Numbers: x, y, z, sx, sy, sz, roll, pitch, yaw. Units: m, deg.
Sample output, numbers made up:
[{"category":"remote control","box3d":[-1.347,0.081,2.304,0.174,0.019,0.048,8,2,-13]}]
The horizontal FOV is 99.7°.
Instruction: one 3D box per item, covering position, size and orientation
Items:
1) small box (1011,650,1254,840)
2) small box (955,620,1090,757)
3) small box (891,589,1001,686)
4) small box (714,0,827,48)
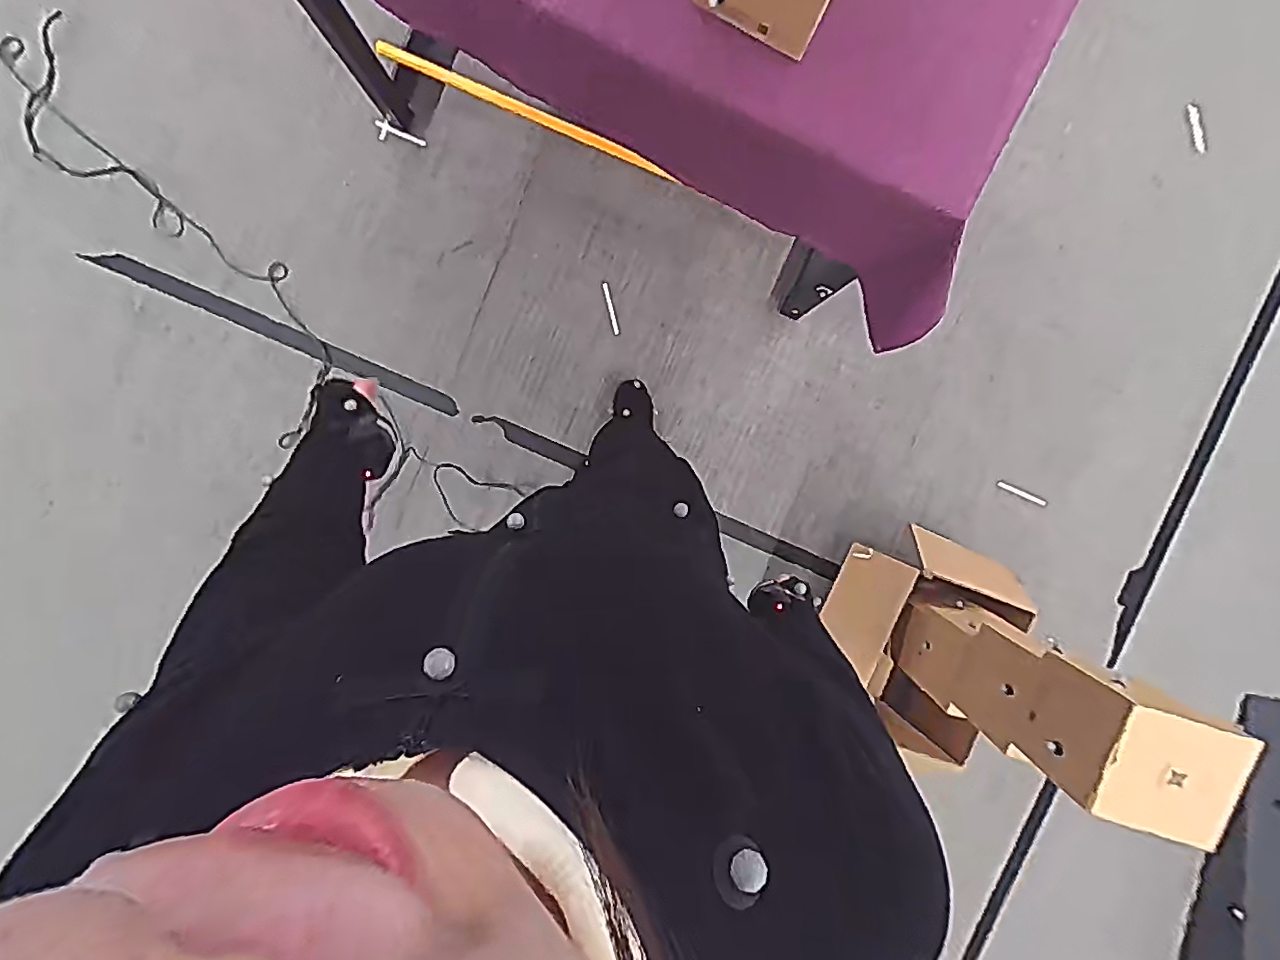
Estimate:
[{"category":"small box","box3d":[0.699,0.372,0.794,0.179,0.176,0.168,17,98,0]},{"category":"small box","box3d":[0.698,0.371,0.958,0.168,0.176,0.179,16,97,1]},{"category":"small box","box3d":[0.718,0.369,1.287,0.168,0.176,0.179,2,98,1]},{"category":"small box","box3d":[0.179,-0.671,0.633,0.168,0.176,0.179,26,92,-4]}]
